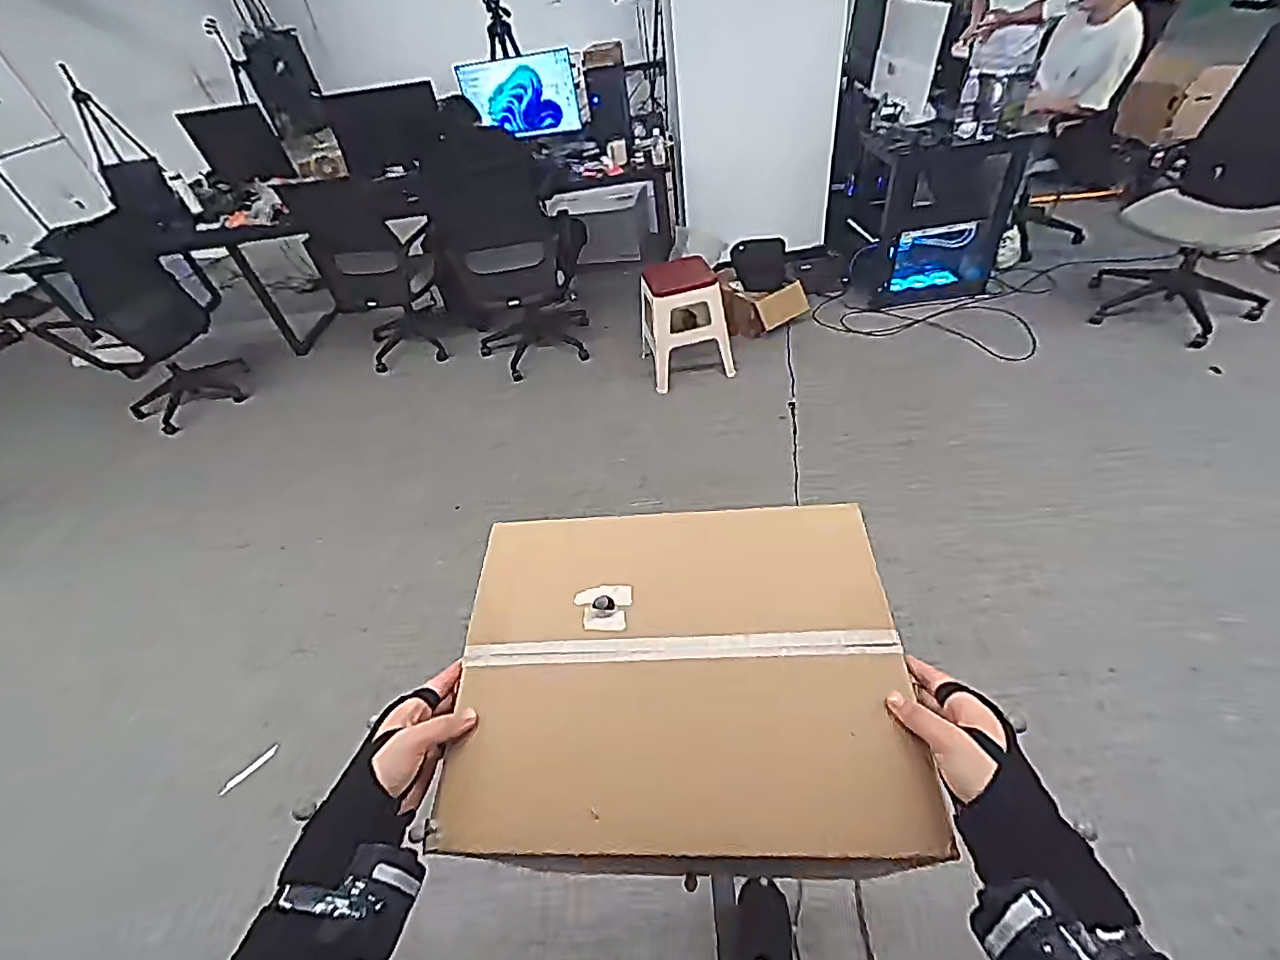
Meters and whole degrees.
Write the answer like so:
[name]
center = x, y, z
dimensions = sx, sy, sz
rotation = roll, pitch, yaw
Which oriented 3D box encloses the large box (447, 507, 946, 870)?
[large box]
center = 0.056, 0.258, 0.632
dimensions = 0.408, 0.320, 0.320
rotation = -5, 50, 6
